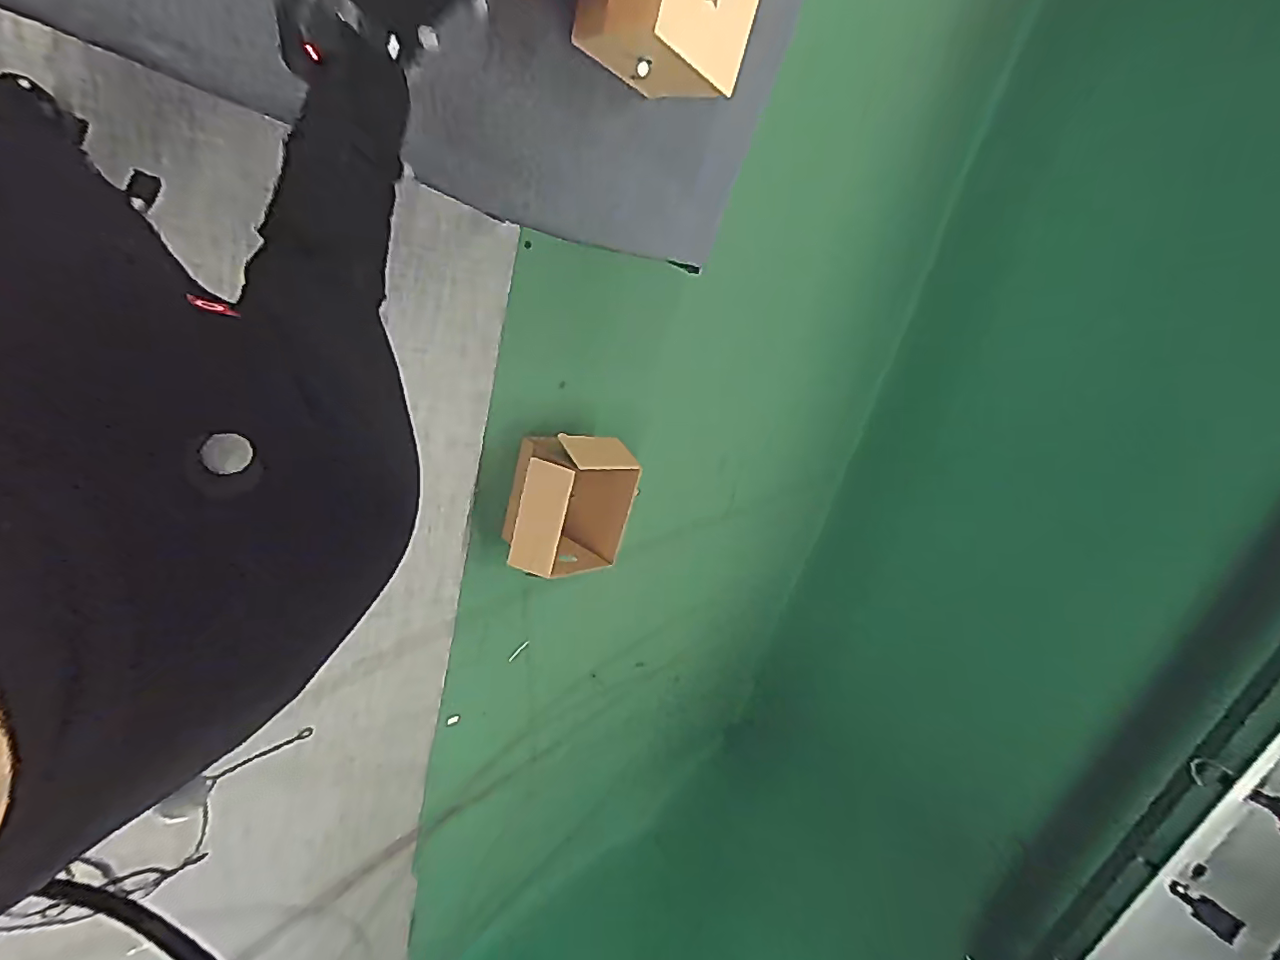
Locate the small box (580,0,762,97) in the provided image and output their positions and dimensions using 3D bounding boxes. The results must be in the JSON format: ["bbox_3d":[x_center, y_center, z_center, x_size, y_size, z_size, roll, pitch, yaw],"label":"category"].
[{"bbox_3d":[0.042,-0.642,0.717,0.168,0.176,0.179,-4,117,-47],"label":"small box"}]
